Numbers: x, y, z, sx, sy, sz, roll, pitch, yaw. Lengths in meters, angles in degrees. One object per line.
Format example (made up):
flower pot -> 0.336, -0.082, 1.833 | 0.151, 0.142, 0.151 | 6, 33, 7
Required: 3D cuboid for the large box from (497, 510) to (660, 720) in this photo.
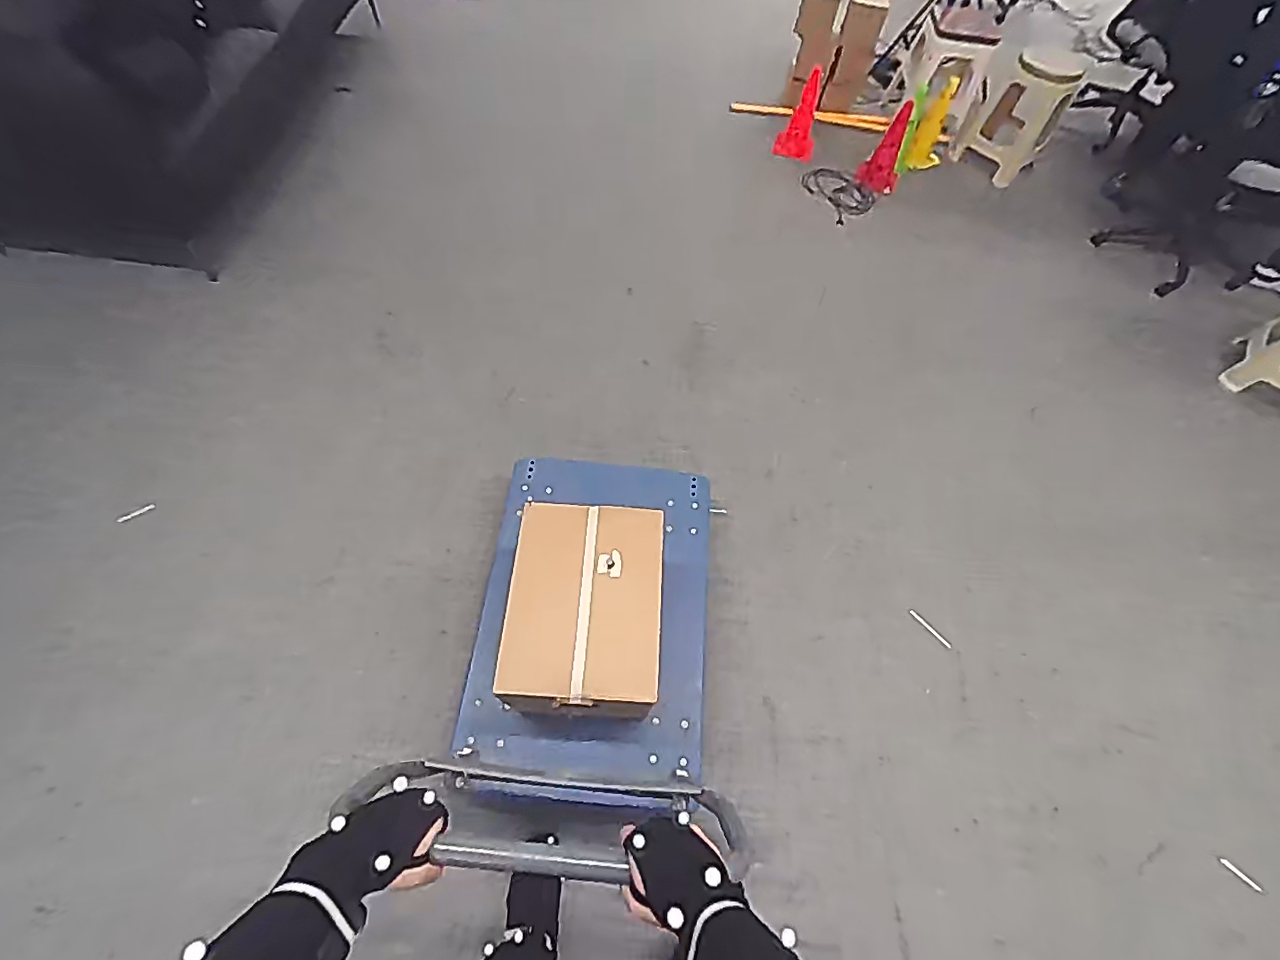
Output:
large box -> -0.119, 0.320, 1.246 | 0.320, 0.320, 0.408 | 4, 61, -1
